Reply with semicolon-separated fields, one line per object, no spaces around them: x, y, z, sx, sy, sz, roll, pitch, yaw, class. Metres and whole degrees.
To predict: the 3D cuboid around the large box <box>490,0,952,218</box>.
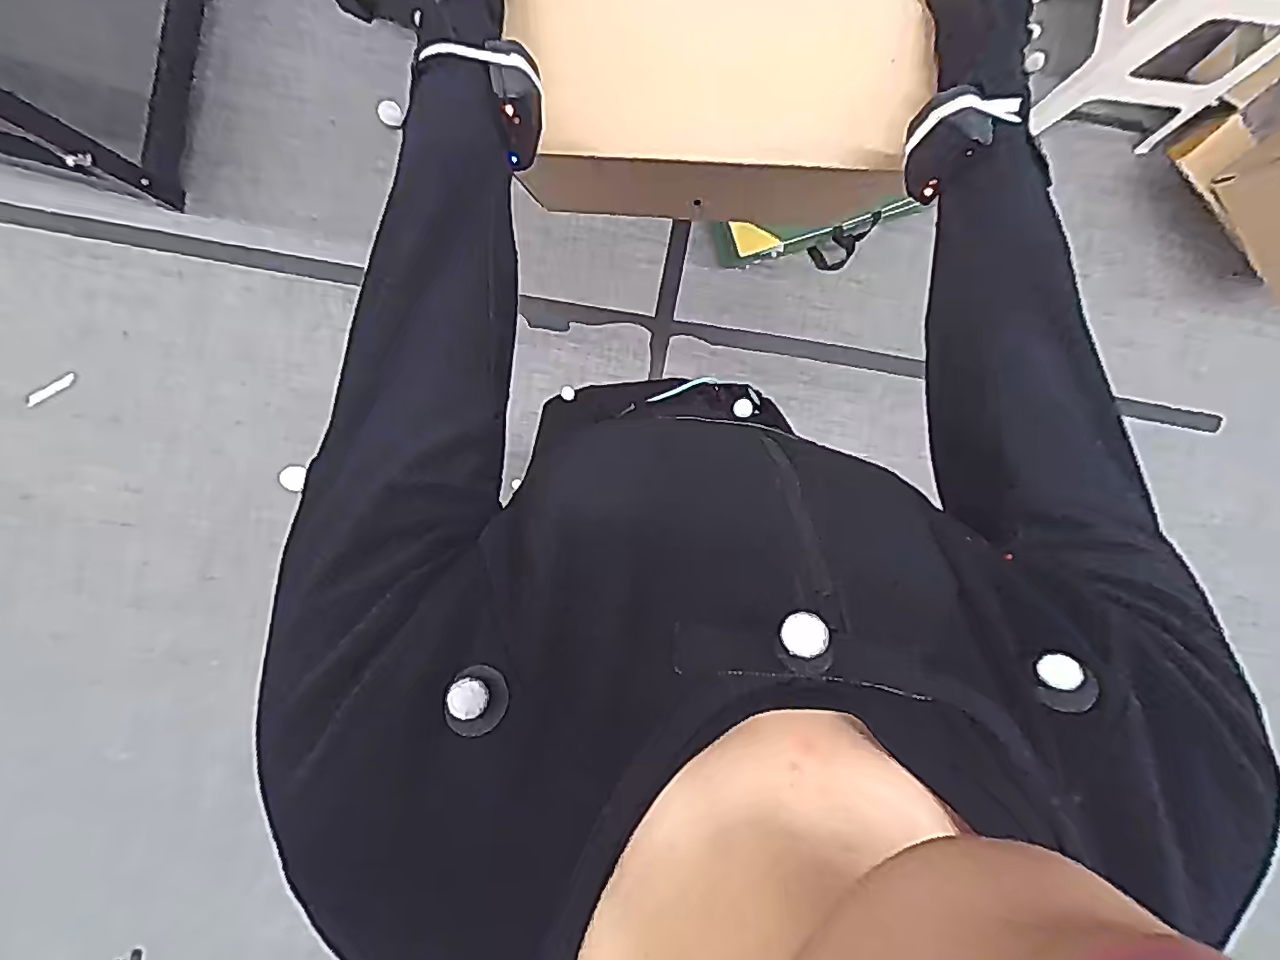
0.072;-0.482;0.595;0.408;0.320;0.320;2;106;-1;large box
